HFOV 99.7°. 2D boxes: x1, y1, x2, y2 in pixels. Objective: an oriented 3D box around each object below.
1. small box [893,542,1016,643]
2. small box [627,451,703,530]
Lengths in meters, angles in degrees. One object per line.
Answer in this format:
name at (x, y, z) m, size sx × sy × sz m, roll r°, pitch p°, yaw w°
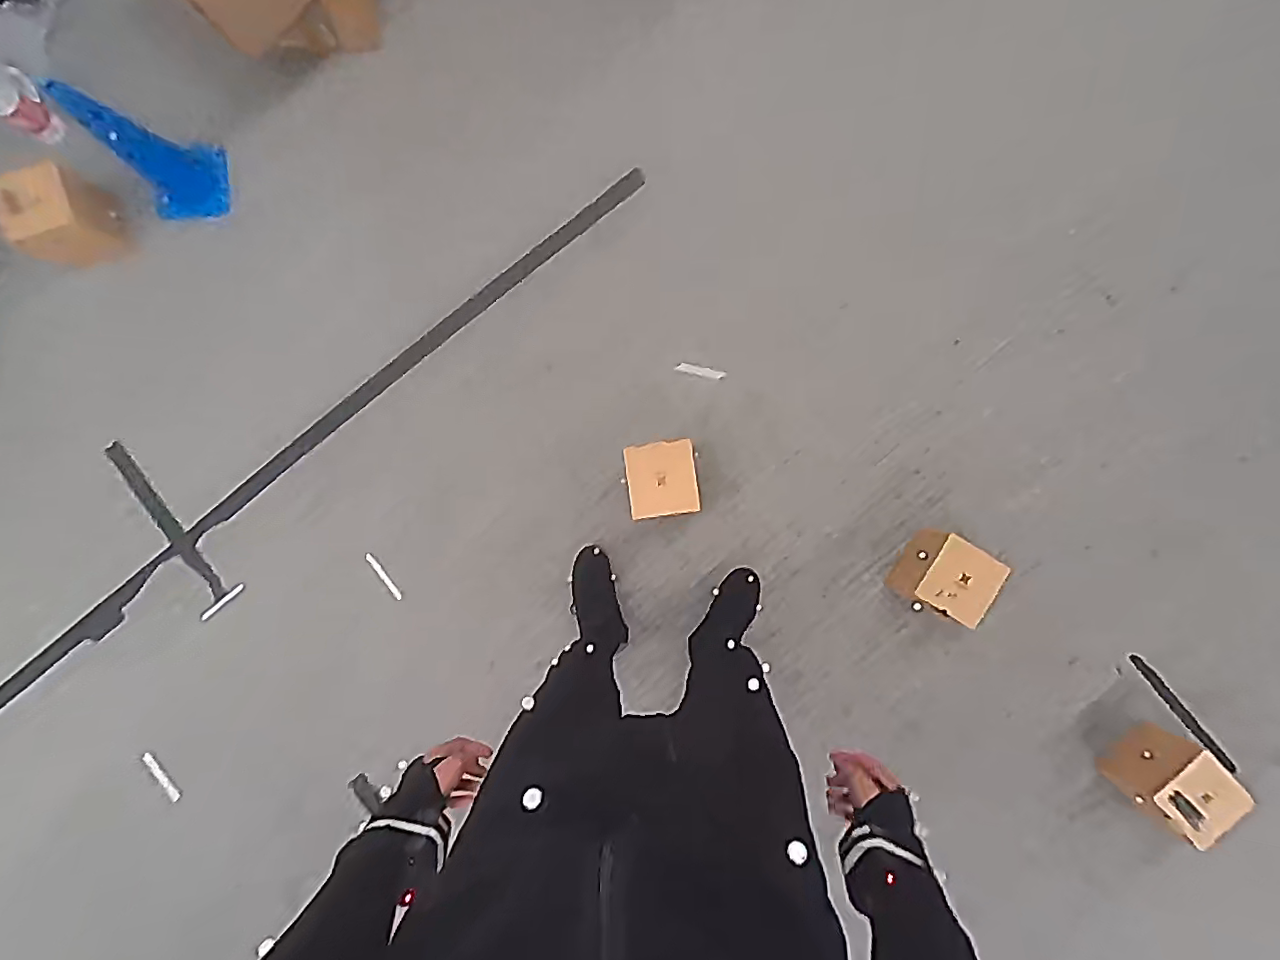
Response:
small box at (0.766, 0.267, 1.339) m, size 0.168 × 0.176 × 0.179 m, roll 32°, pitch 89°, yaw 3°
small box at (0.063, 0.027, 1.366) m, size 0.168 × 0.176 × 0.179 m, roll -8°, pitch 87°, yaw 2°
